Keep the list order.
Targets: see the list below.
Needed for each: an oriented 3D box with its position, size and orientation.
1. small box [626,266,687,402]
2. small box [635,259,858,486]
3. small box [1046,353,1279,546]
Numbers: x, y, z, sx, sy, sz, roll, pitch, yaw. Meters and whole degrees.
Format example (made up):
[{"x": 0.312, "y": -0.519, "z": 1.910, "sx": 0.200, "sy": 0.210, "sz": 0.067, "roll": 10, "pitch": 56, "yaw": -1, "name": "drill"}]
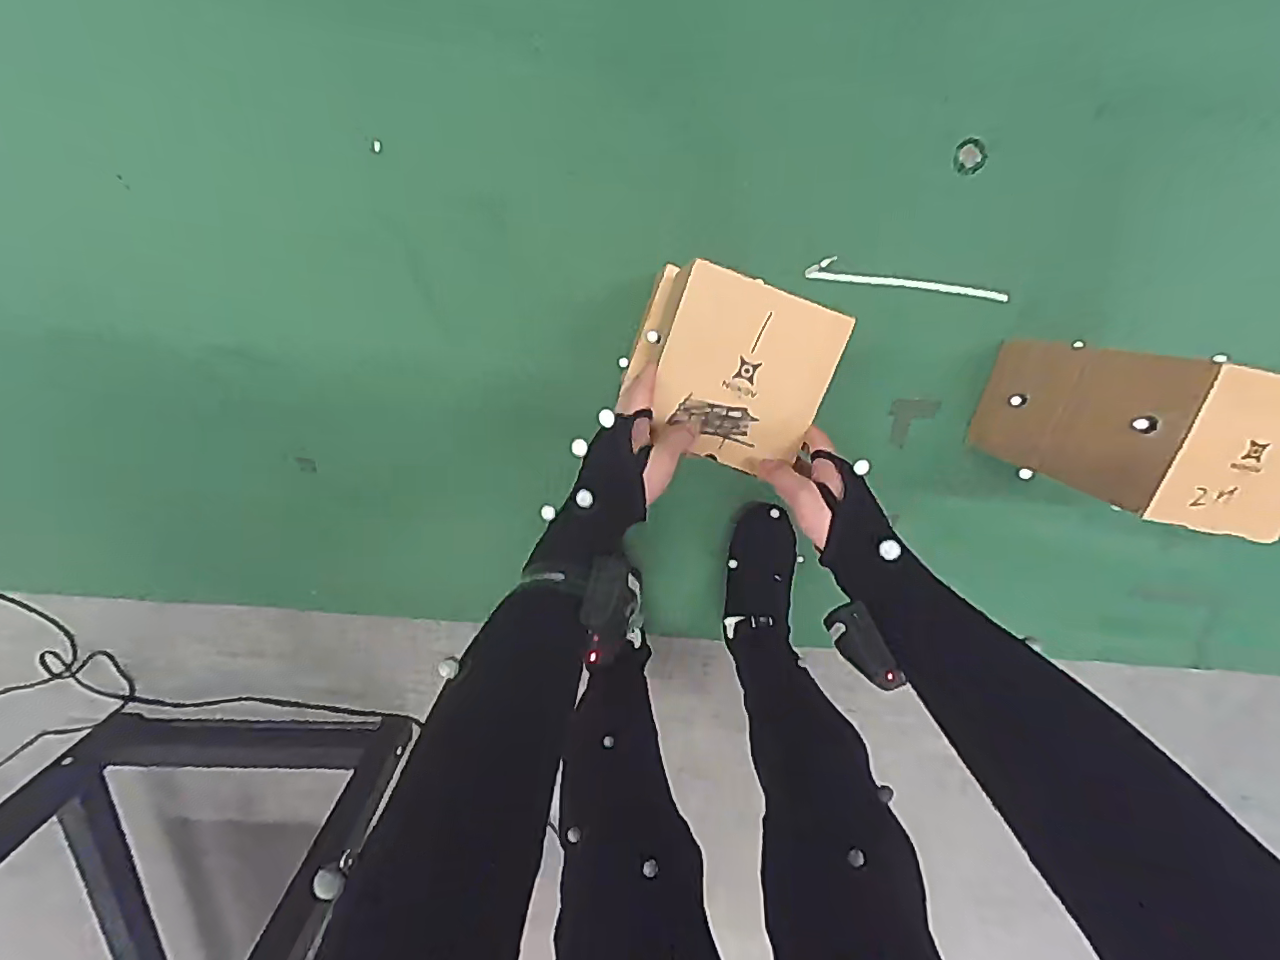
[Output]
[{"x": 0.083, "y": -0.185, "z": 0.766, "sx": 0.168, "sy": 0.176, "sz": 0.179, "roll": 19, "pitch": 108, "yaw": -7, "name": "small box"}, {"x": 0.098, "y": -0.118, "z": 0.590, "sx": 0.168, "sy": 0.176, "sz": 0.179, "roll": 17, "pitch": 105, "yaw": -8, "name": "small box"}, {"x": 0.642, "y": -0.047, "z": 0.644, "sx": 0.168, "sy": 0.176, "sz": 0.179, "roll": 11, "pitch": 108, "yaw": -4, "name": "small box"}]
